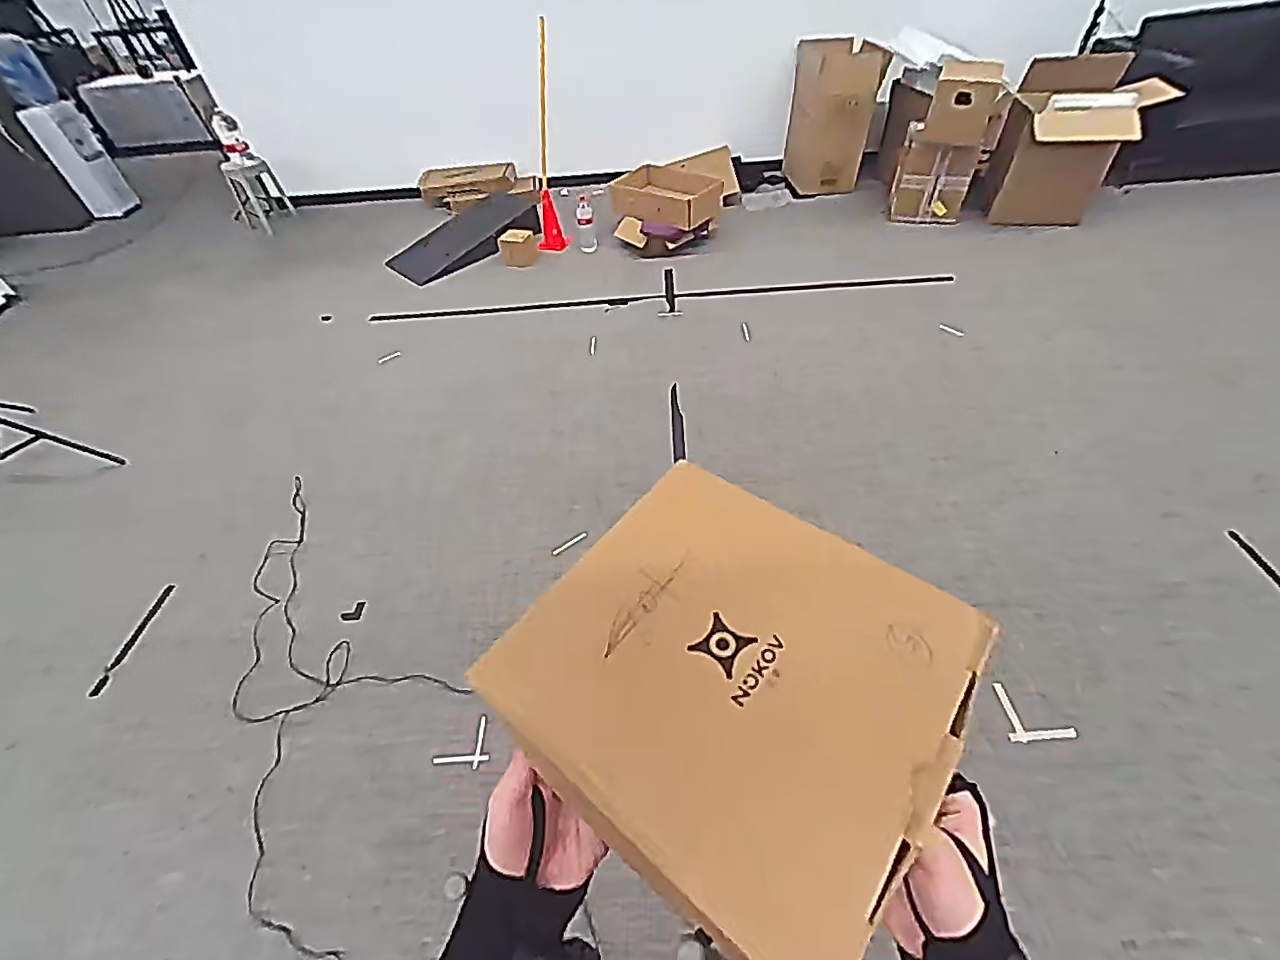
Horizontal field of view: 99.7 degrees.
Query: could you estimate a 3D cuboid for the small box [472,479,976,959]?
[{"bbox_3d":[0.044,0.137,0.307,0.179,0.176,0.168,28,56,29],"label":"small box"}]
